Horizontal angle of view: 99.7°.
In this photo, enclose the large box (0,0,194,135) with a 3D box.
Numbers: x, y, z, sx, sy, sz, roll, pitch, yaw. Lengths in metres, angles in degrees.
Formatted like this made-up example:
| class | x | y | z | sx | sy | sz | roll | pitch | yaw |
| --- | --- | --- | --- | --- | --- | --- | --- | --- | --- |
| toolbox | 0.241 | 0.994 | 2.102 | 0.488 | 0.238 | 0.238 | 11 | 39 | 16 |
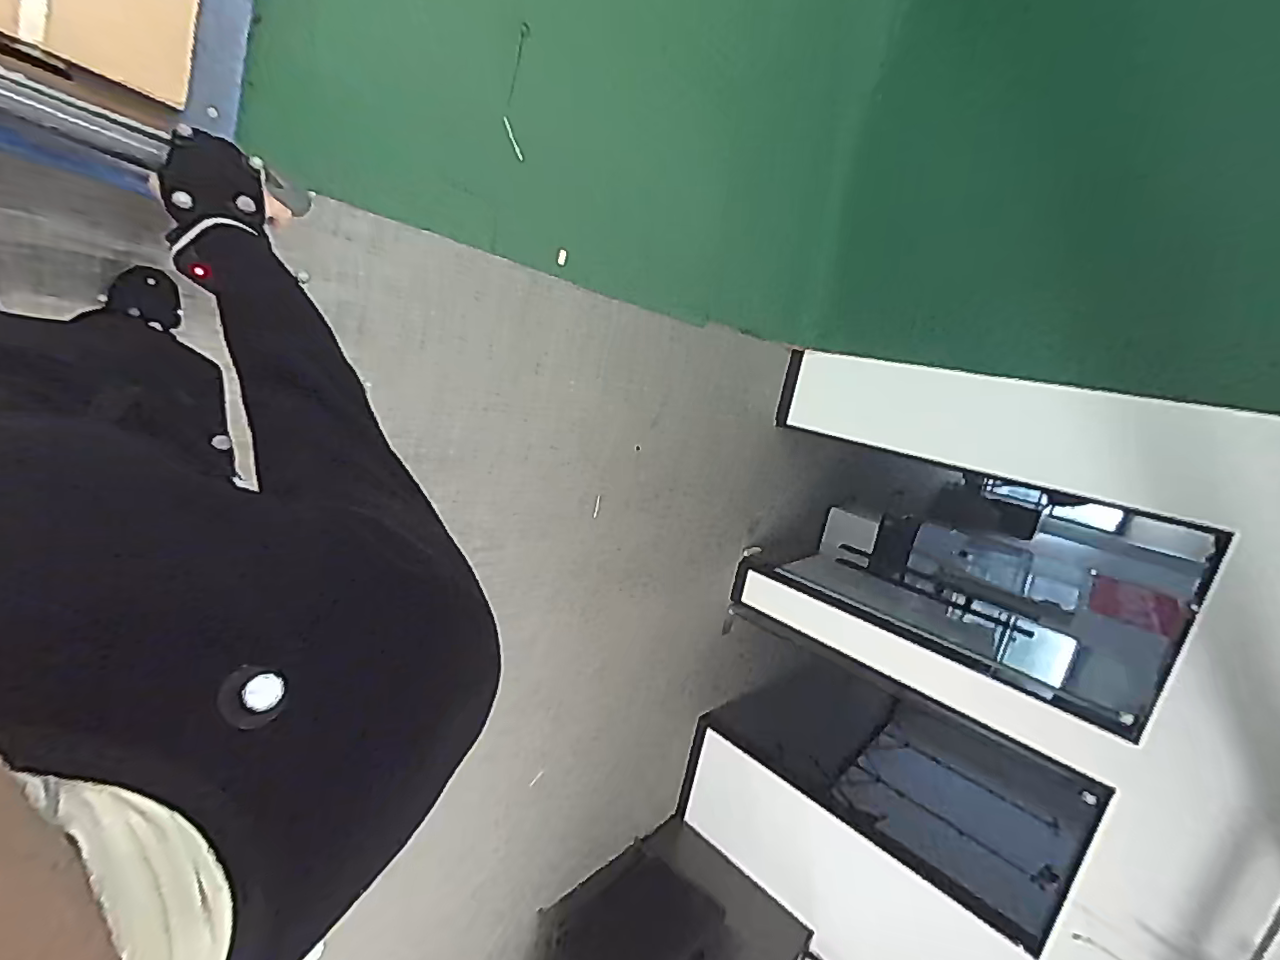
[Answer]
| class | x | y | z | sx | sy | sz | roll | pitch | yaw |
| --- | --- | --- | --- | --- | --- | --- | --- | --- | --- |
| large box | -0.847 | -0.787 | 0.759 | 0.320 | 0.320 | 0.408 | 4 | 103 | -50 |
